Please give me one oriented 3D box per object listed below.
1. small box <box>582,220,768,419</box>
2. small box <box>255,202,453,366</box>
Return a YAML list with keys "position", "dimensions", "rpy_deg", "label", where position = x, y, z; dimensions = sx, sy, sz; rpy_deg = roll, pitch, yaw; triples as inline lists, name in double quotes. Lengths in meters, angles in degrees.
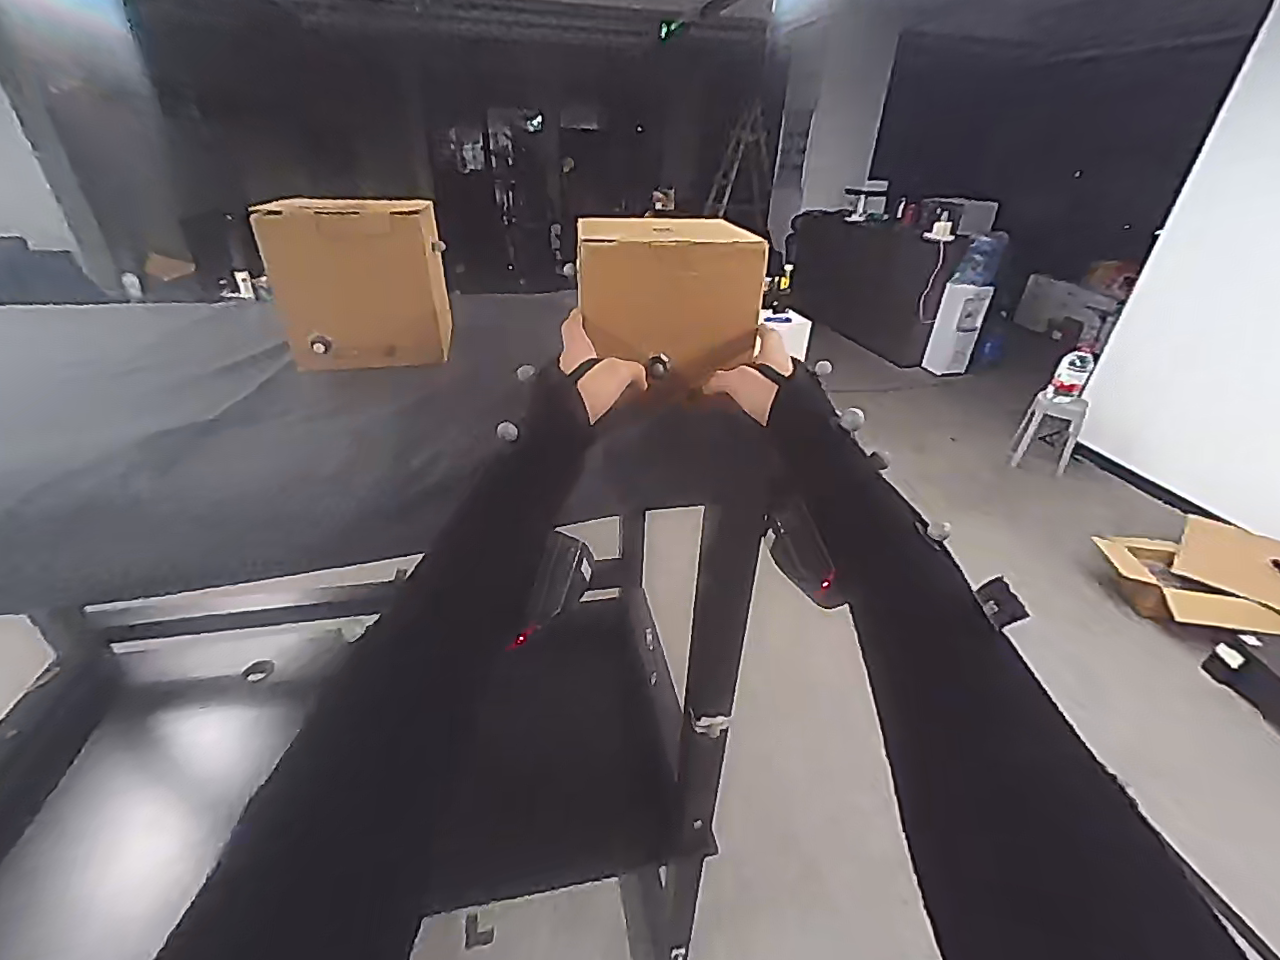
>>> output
- position: [0.021, -0.175, 0.577]
  dimensions: [0.168, 0.176, 0.179]
  rpy_deg: [-2, 31, -6]
  label: "small box"
- position: [-0.332, -0.245, 0.672]
  dimensions: [0.168, 0.176, 0.179]
  rpy_deg: [-6, 31, -13]
  label: "small box"
